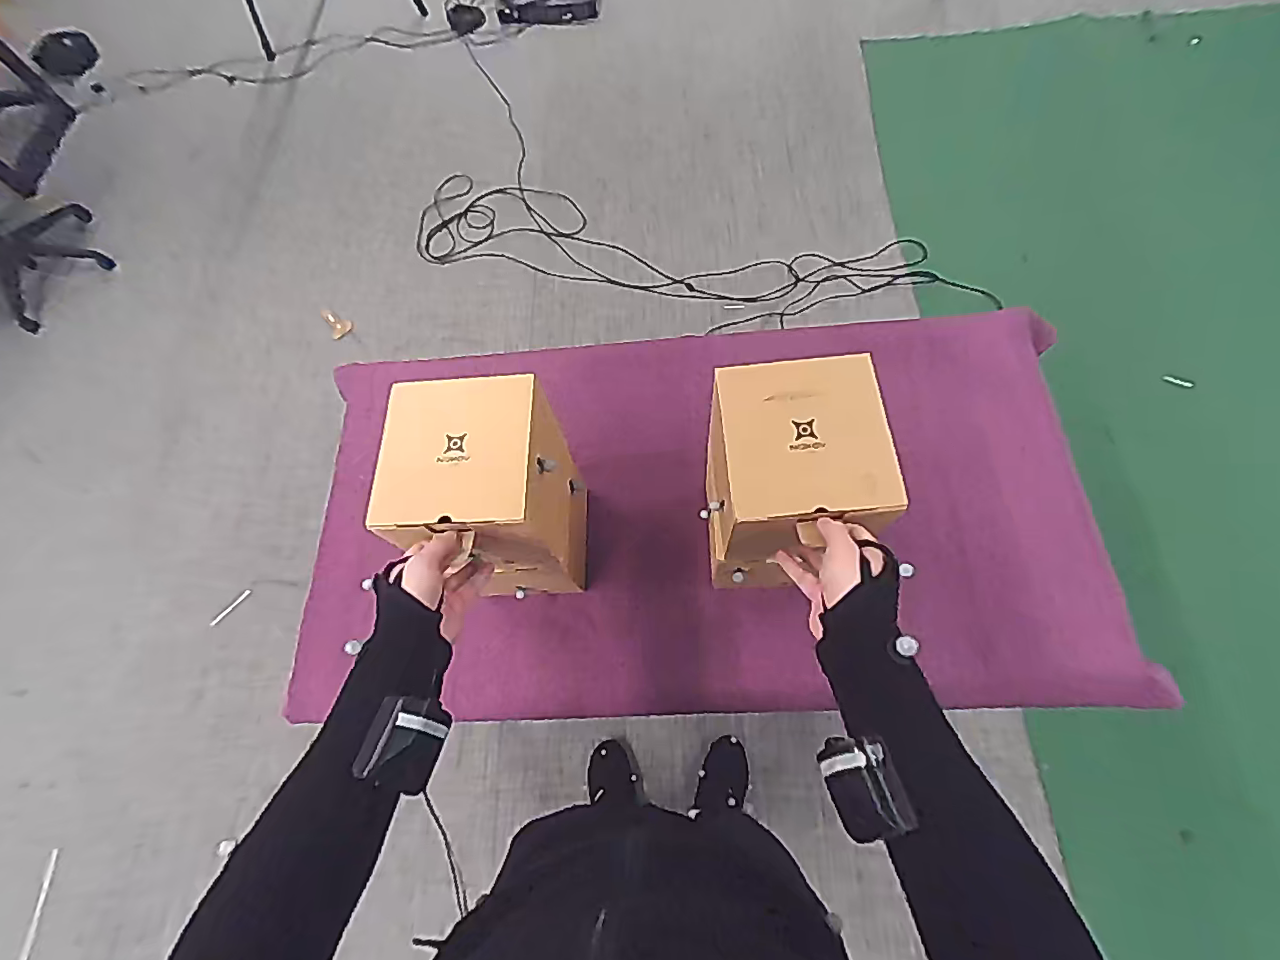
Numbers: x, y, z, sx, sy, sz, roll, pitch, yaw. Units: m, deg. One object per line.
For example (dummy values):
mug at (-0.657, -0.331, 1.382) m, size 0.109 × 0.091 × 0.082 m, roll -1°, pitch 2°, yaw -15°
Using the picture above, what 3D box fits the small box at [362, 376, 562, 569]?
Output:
small box at (-0.190, -0.002, 0.636) m, size 0.168 × 0.176 × 0.179 m, roll -2°, pitch 67°, yaw 4°

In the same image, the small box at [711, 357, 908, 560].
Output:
small box at (0.171, -0.012, 0.607) m, size 0.168 × 0.176 × 0.179 m, roll -5°, pitch 67°, yaw 3°

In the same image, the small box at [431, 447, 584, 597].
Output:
small box at (-0.178, 0.067, 0.785) m, size 0.168 × 0.176 × 0.179 m, roll -2°, pitch 68°, yaw 5°
